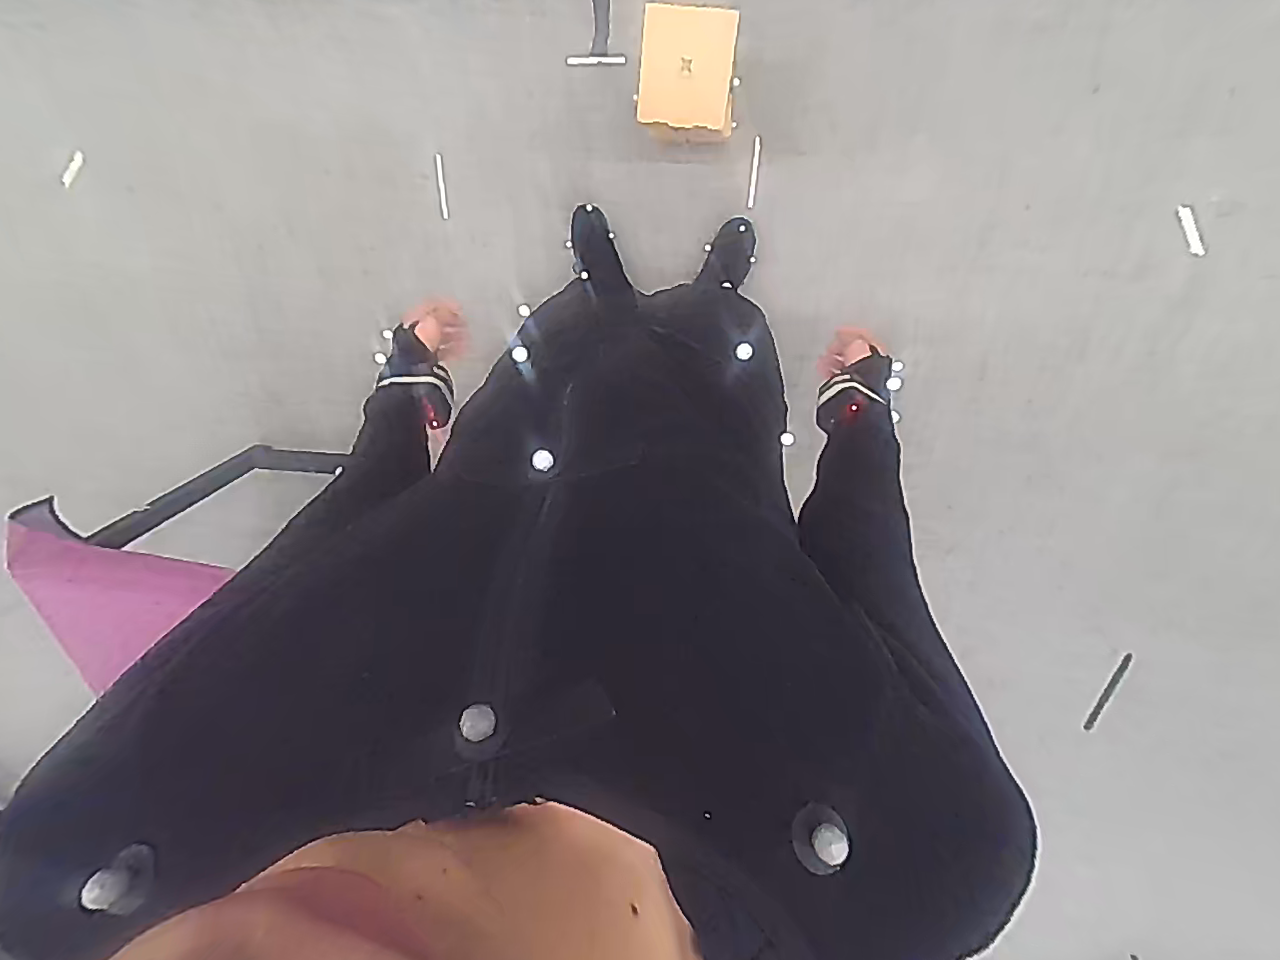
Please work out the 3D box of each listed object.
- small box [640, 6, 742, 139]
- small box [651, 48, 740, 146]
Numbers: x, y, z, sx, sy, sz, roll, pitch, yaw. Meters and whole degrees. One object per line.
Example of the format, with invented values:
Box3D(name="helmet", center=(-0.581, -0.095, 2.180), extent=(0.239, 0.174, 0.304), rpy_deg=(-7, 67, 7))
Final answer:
Box3D(name="small box", center=(0.096, -0.771, 1.041), extent=(0.168, 0.176, 0.179), rpy_deg=(8, 120, 4))
Box3D(name="small box", center=(0.121, -0.838, 1.188), extent=(0.179, 0.176, 0.168), rpy_deg=(4, 119, 7))
